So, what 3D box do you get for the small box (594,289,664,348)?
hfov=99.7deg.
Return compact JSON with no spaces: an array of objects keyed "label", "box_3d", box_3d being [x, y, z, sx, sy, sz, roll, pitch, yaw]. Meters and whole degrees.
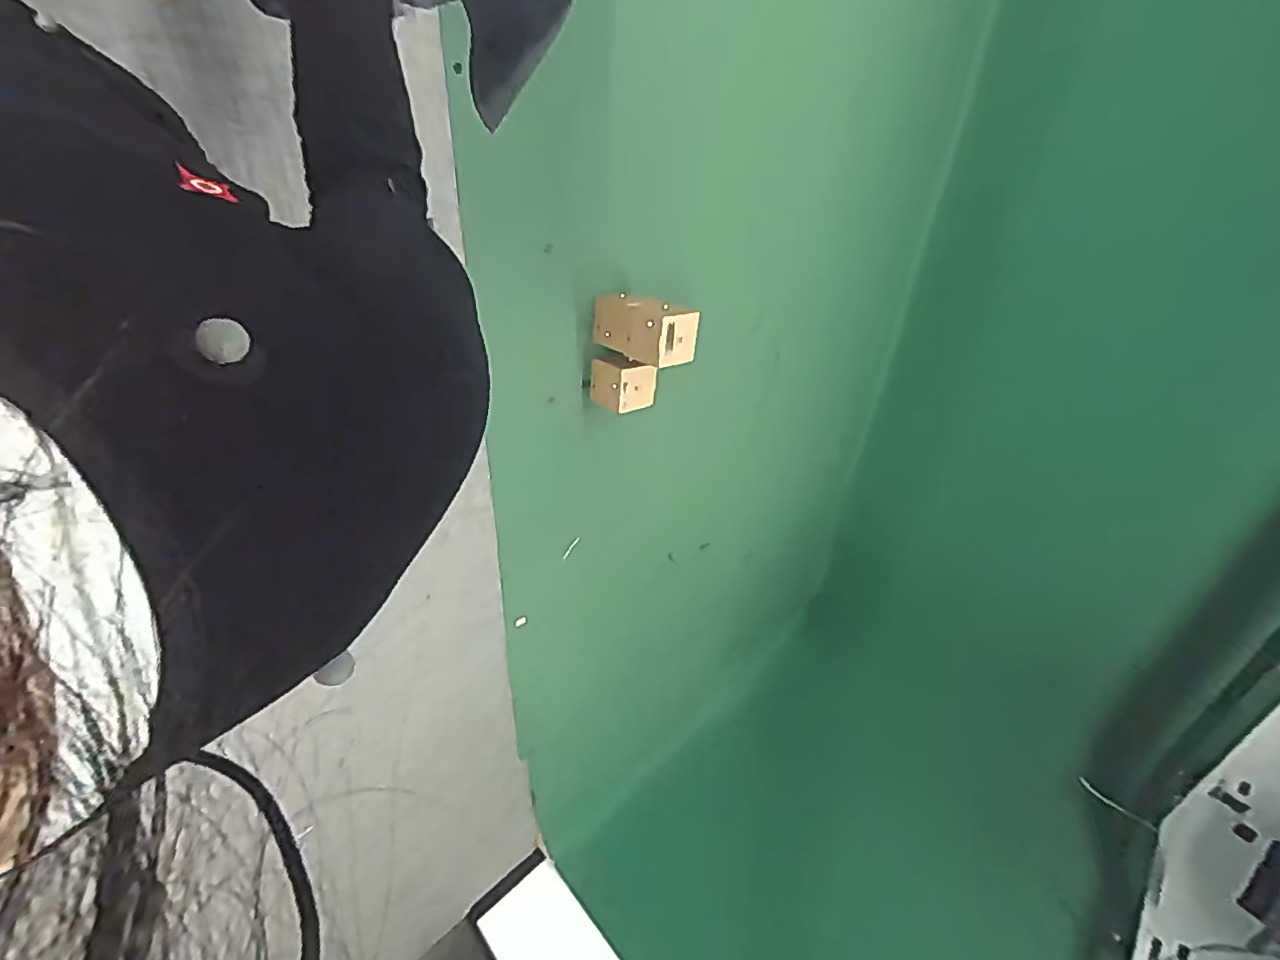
[{"label":"small box","box_3d":[-0.043,-0.570,1.894,0.179,0.176,0.168,-19,127,-40]}]
